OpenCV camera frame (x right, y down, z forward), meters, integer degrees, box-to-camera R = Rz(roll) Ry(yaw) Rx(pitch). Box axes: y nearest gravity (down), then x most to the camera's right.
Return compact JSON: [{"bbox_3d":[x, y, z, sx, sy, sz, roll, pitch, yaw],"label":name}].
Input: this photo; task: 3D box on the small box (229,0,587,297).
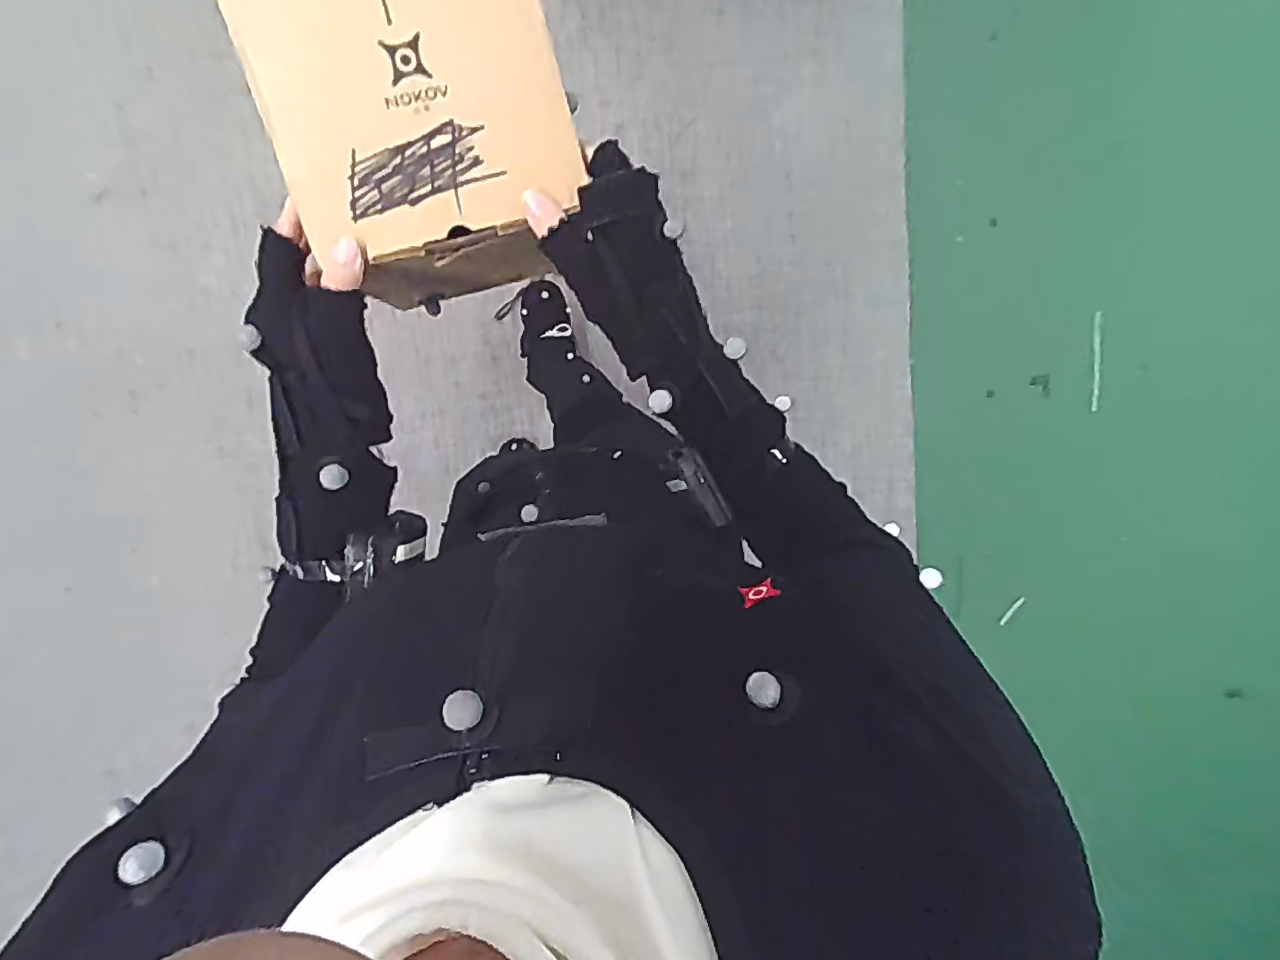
[{"bbox_3d":[-0.139,-0.240,0.385,0.168,0.176,0.179,-16,100,-5],"label":"small box"}]
